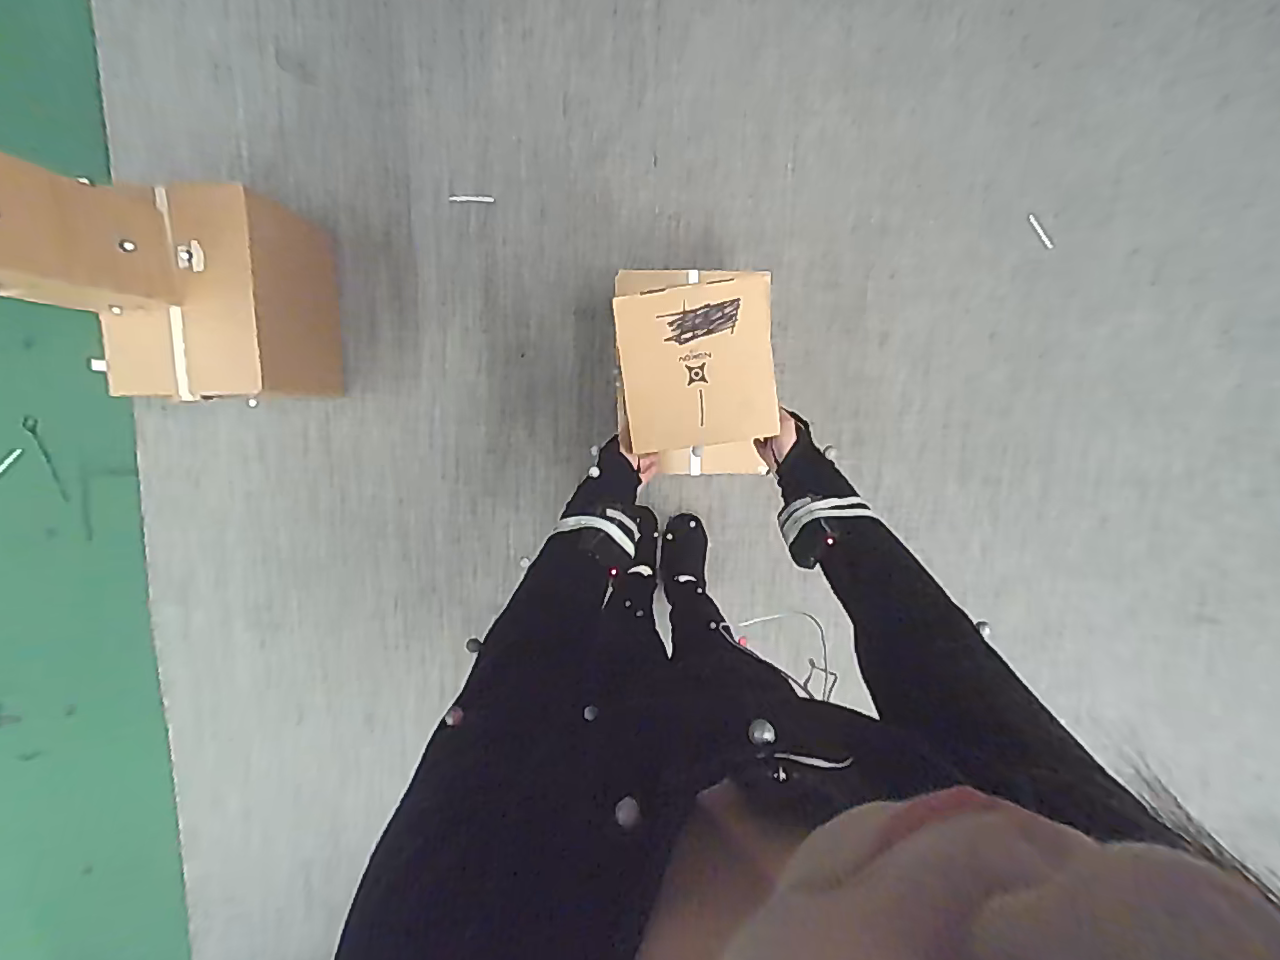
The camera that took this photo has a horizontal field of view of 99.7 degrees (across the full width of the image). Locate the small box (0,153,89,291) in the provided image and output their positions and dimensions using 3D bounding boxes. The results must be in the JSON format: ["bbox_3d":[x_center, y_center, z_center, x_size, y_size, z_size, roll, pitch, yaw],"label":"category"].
[{"bbox_3d":[-0.994,-0.391,0.809,0.168,0.176,0.179,0,98,3],"label":"small box"}]

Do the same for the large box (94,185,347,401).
[{"bbox_3d":[-0.906,-0.387,1.220,0.320,0.320,0.408,0,96,1],"label":"large box"}]

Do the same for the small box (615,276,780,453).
[{"bbox_3d":[0.067,-0.131,0.668,0.168,0.176,0.179,-8,95,5],"label":"small box"}]
